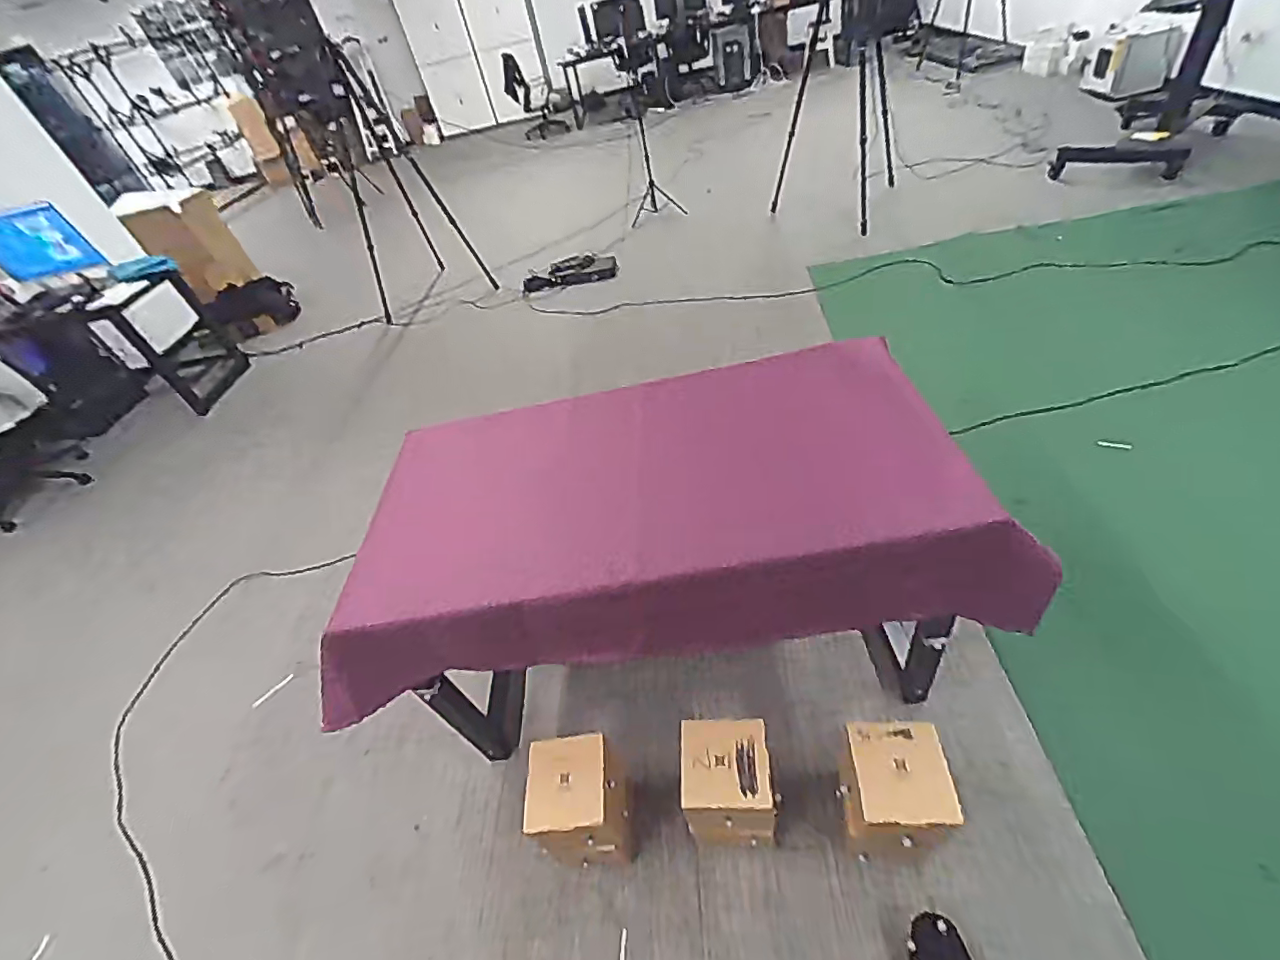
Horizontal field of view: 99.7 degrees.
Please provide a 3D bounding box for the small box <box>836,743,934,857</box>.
[{"bbox_3d":[0.528,0.704,1.187,0.168,0.176,0.179,-2,44,14],"label":"small box"}]

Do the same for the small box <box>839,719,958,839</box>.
[{"bbox_3d":[0.498,0.591,1.068,0.168,0.176,0.179,-3,46,10],"label":"small box"}]
